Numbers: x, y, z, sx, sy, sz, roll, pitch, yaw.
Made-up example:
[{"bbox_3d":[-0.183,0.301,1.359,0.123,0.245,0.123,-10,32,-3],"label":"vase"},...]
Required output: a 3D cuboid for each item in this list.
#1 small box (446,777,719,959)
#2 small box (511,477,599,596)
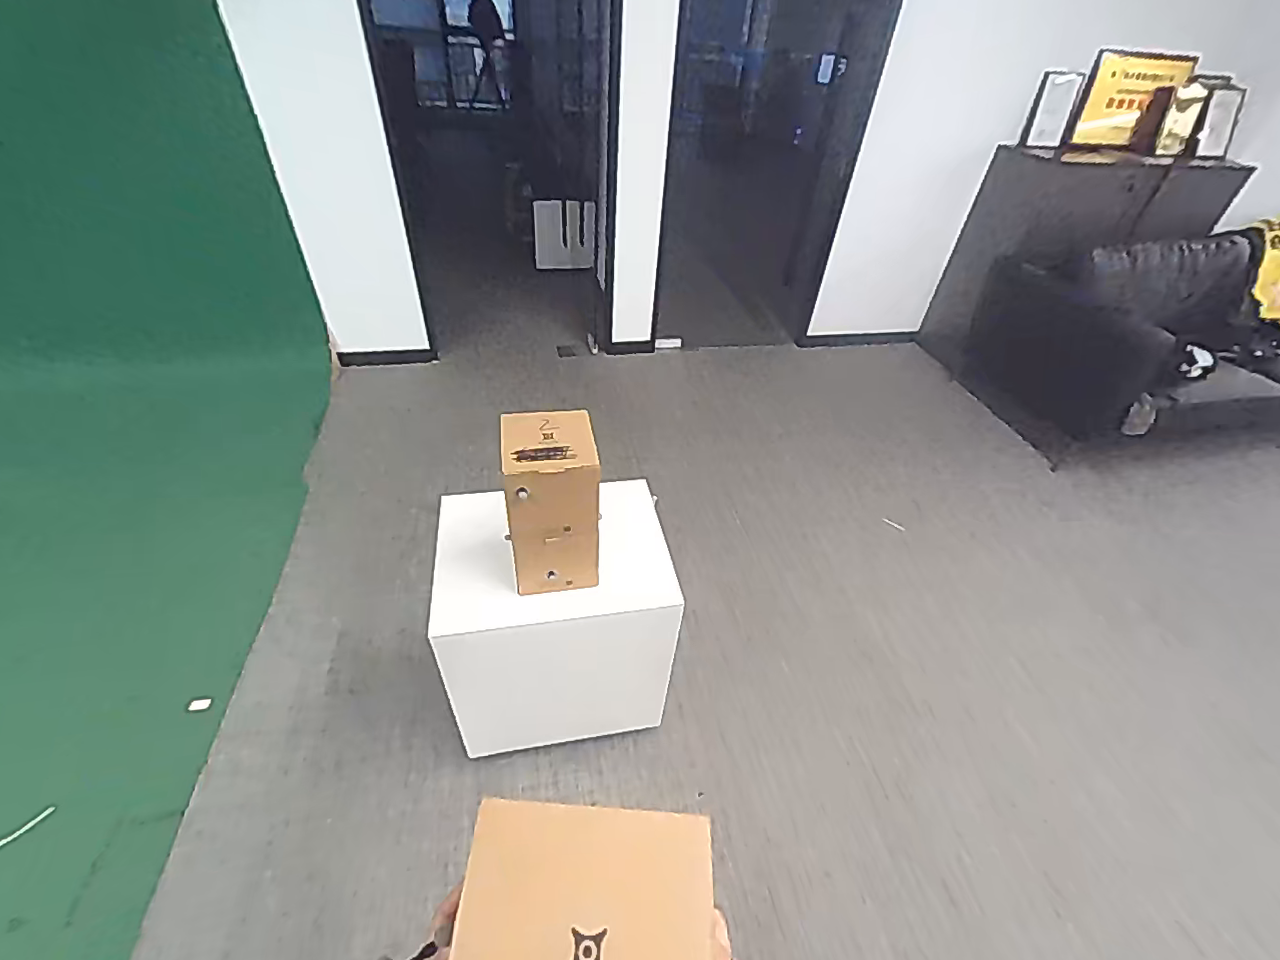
[{"bbox_3d":[-0.044,0.333,0.382,0.168,0.176,0.179,8,49,-4],"label":"small box"},{"bbox_3d":[-0.179,0.115,1.122,0.168,0.176,0.179,-5,41,-12],"label":"small box"}]
